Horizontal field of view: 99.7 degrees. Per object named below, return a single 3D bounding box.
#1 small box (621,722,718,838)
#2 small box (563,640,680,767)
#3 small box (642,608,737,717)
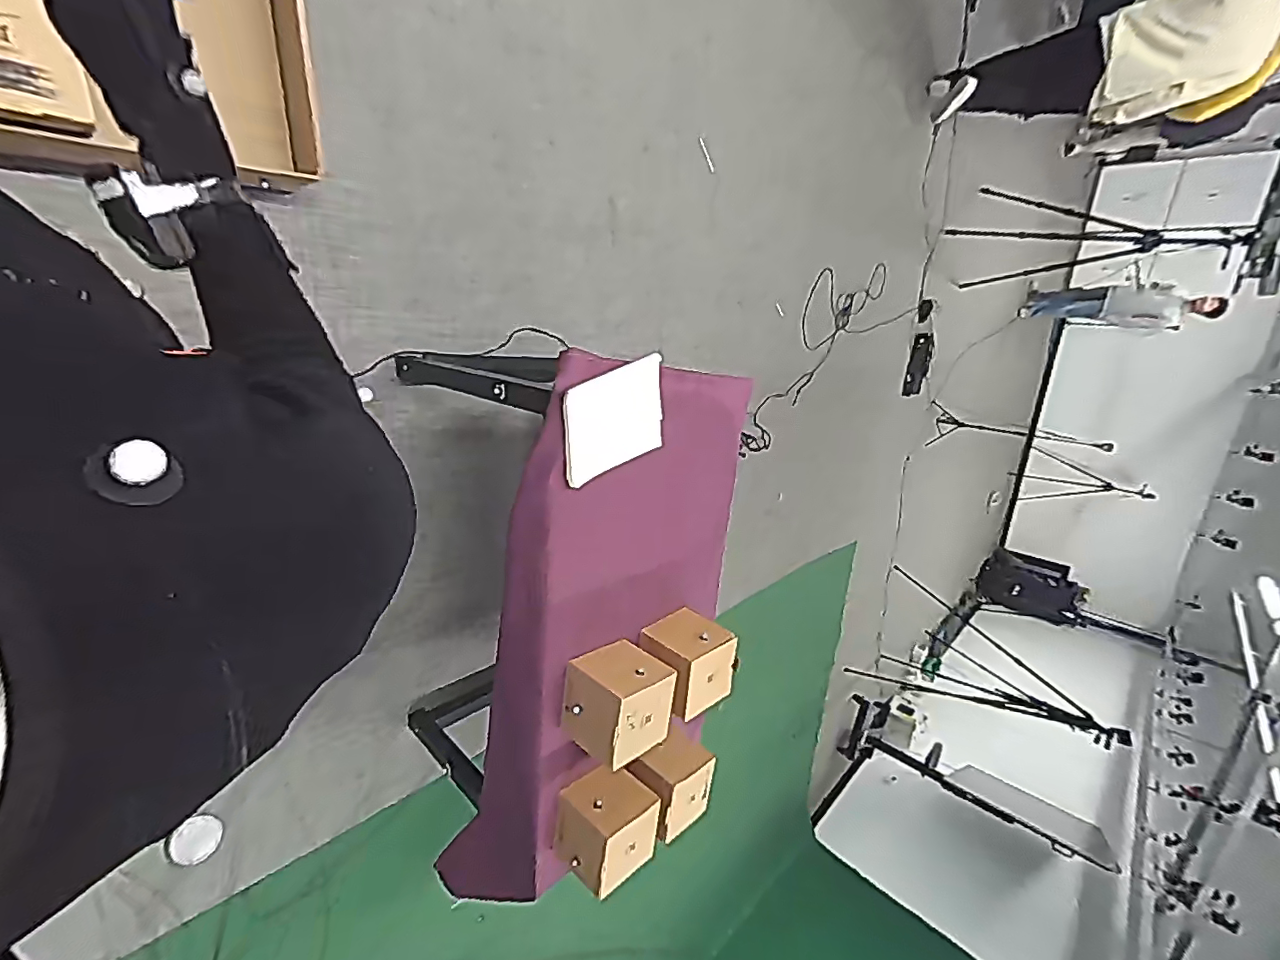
[{"bbox_3d":[0.073,0.772,1.413,0.179,0.176,0.168,-2,106,-46],"label":"small box"},{"bbox_3d":[-0.042,0.471,1.175,0.179,0.176,0.168,-5,107,-47],"label":"small box"},{"bbox_3d":[0.114,0.442,1.340,0.179,0.176,0.168,-13,113,-45],"label":"small box"}]
